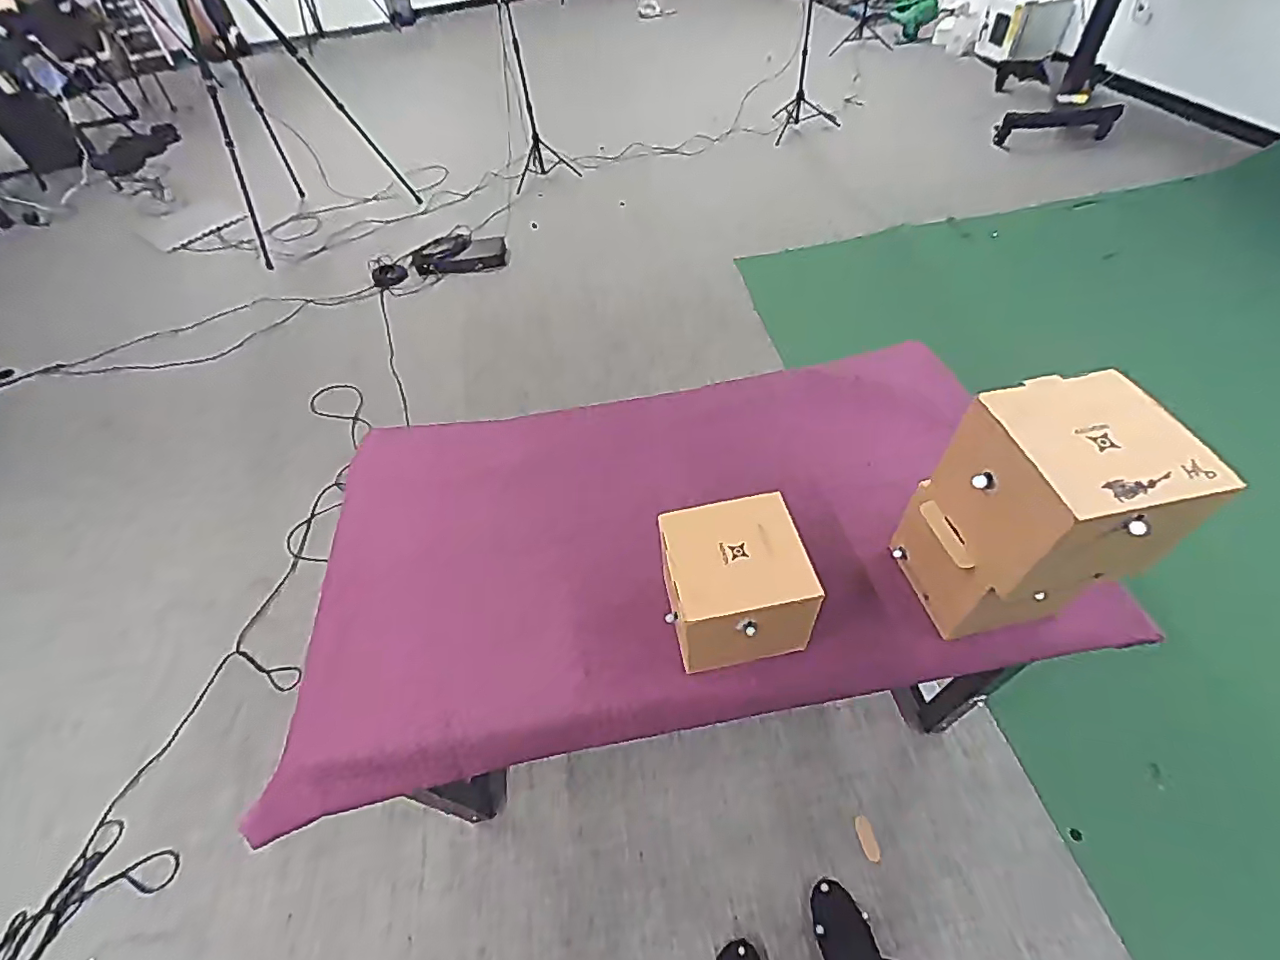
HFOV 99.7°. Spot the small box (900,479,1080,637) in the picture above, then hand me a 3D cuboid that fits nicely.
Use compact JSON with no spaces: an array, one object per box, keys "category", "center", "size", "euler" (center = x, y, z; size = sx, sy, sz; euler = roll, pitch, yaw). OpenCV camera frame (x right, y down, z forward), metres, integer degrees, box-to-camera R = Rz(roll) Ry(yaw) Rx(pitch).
[{"category":"small box","center":[0.488,0.099,0.751],"size":[0.179,0.176,0.168],"euler":[-12,51,-3]}]

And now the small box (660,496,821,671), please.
[{"category":"small box","center":[0.132,0.149,0.758],"size":[0.179,0.176,0.168],"euler":[-10,50,-1]}]

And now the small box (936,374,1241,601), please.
[{"category":"small box","center":[0.472,0.011,0.613],"size":[0.168,0.176,0.179],"euler":[-11,50,-1]}]
